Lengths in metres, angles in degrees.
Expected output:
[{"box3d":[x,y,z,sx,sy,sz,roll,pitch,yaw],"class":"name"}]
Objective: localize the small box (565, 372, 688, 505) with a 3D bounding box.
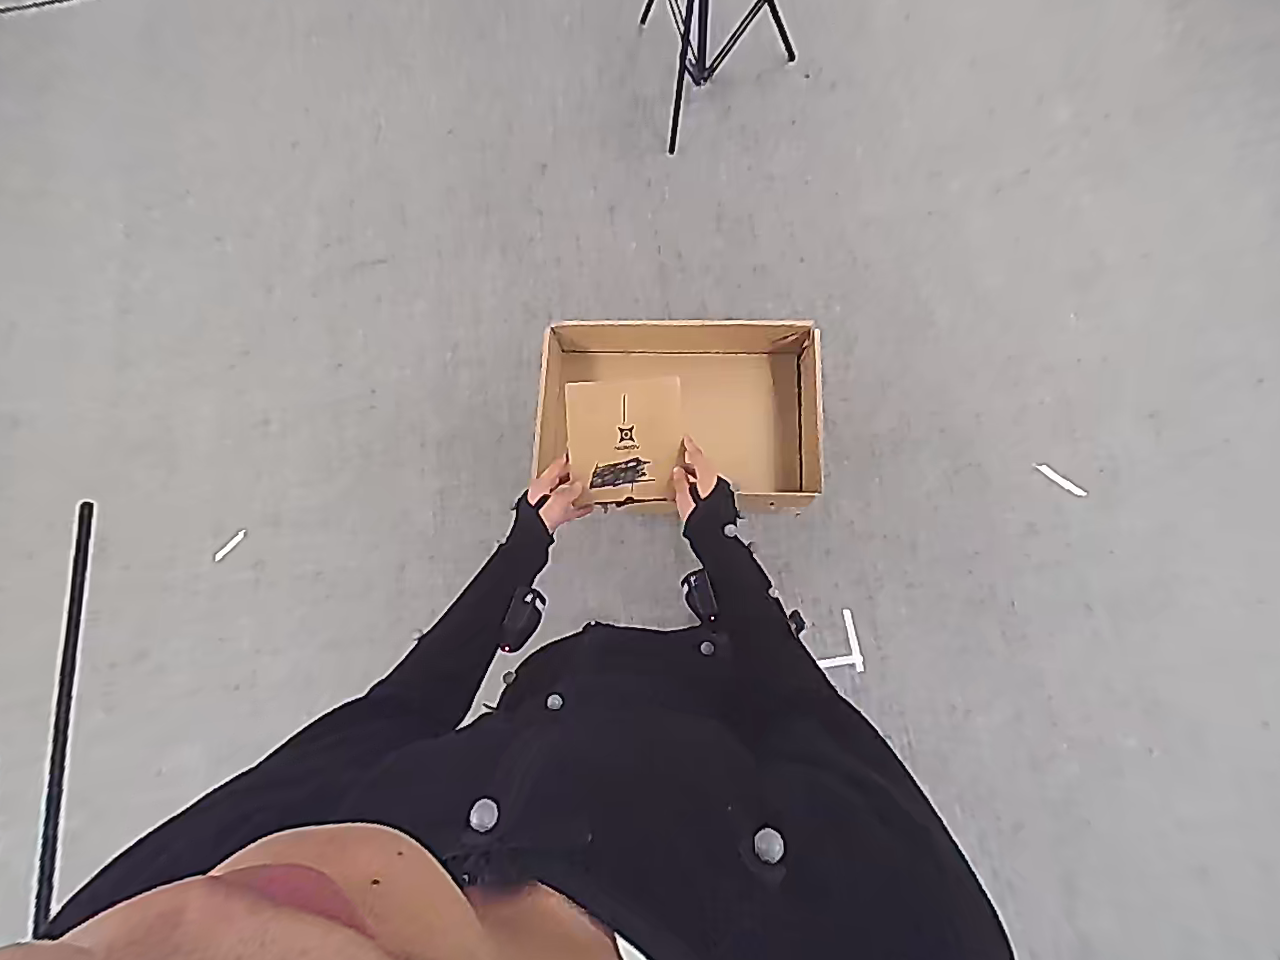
[{"box3d":[-0.014,-0.055,0.821,0.168,0.176,0.179,-4,87,2],"class":"small box"}]
